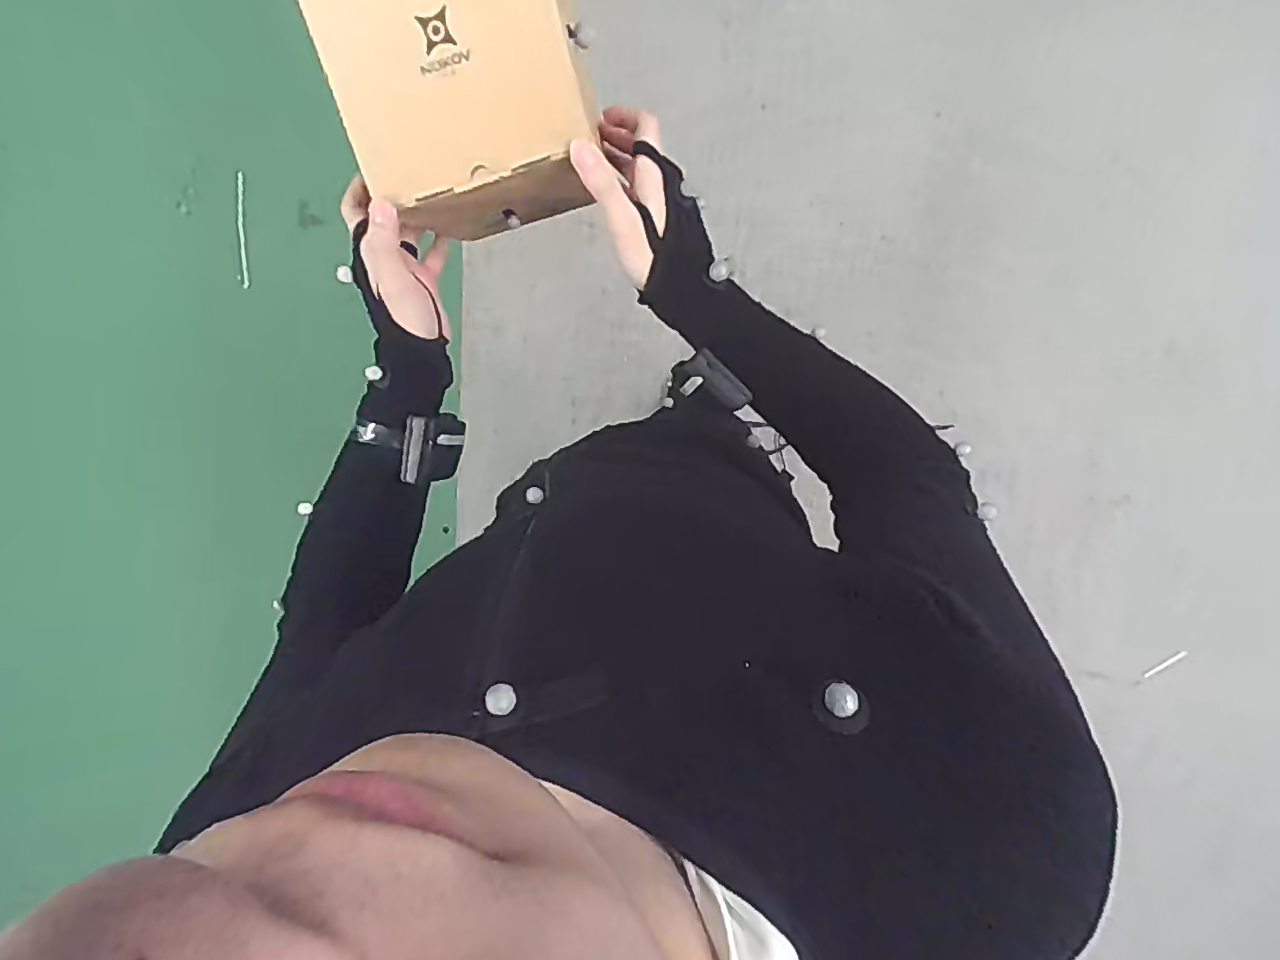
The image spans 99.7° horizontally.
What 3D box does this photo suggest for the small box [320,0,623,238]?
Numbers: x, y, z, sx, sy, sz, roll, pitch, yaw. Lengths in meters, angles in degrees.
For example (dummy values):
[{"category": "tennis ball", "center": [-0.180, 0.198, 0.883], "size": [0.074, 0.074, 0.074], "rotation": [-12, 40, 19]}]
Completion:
[{"category": "small box", "center": [-0.116, -0.313, 0.433], "size": [0.168, 0.176, 0.179], "rotation": [-12, 107, 8]}]
